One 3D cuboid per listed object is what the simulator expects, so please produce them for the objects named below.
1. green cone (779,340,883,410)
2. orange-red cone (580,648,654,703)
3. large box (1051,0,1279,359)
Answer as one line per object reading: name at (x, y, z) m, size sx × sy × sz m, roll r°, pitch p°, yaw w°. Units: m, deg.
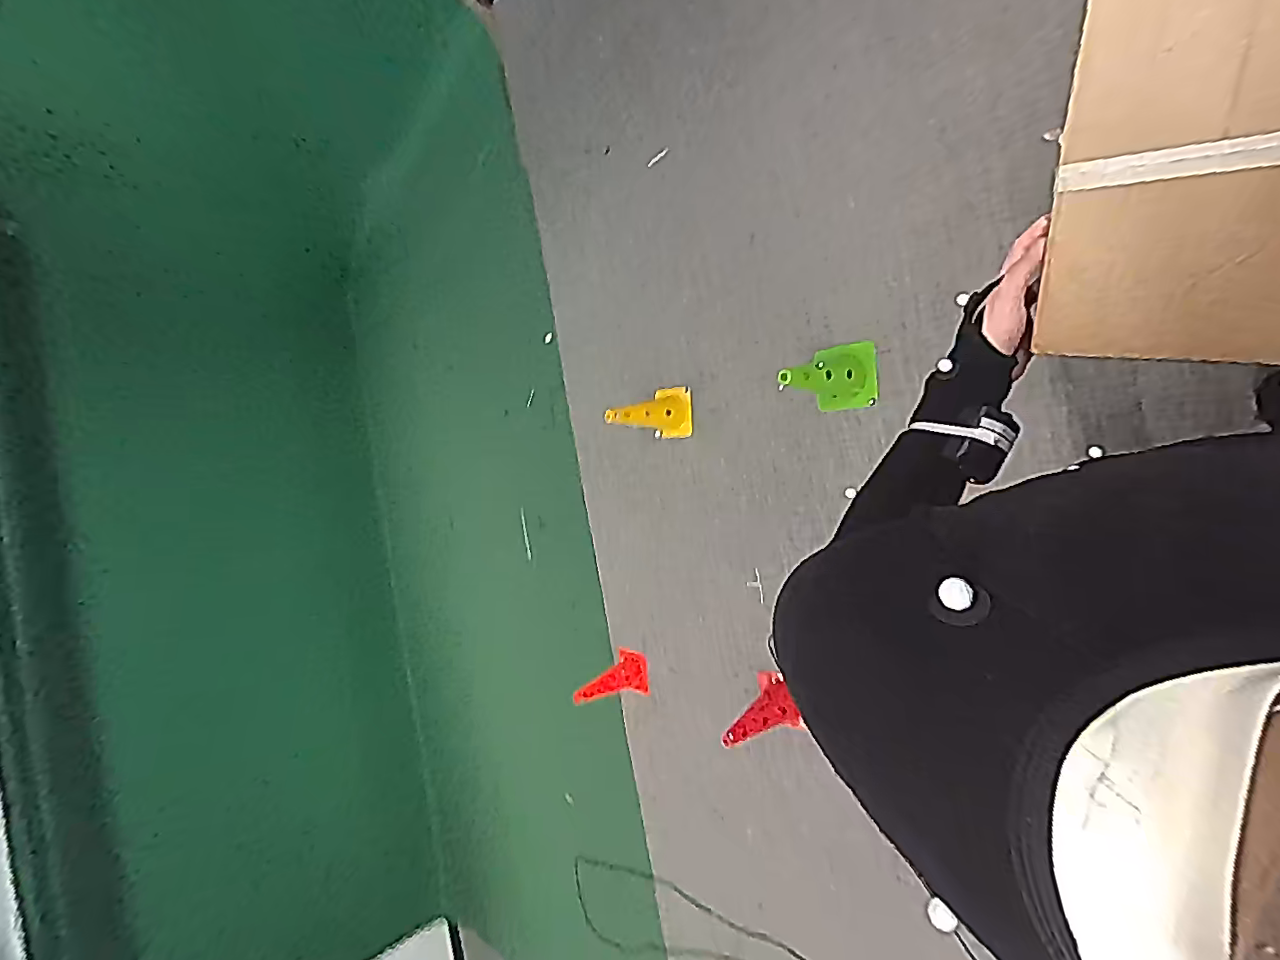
green cone at (0.536, -0.310, 1.595) m, size 0.202 × 0.368 × 0.200 m, roll -3°, pitch 94°, yaw 49°
orange-red cone at (-0.128, 0.964, 2.547) m, size 0.198 × 0.360 × 0.199 m, roll 0°, pitch 98°, yaw 48°
large box at (0.625, -0.285, 0.444) m, size 0.408 × 0.320 × 0.320 m, roll 13°, pitch 120°, yaw 42°
